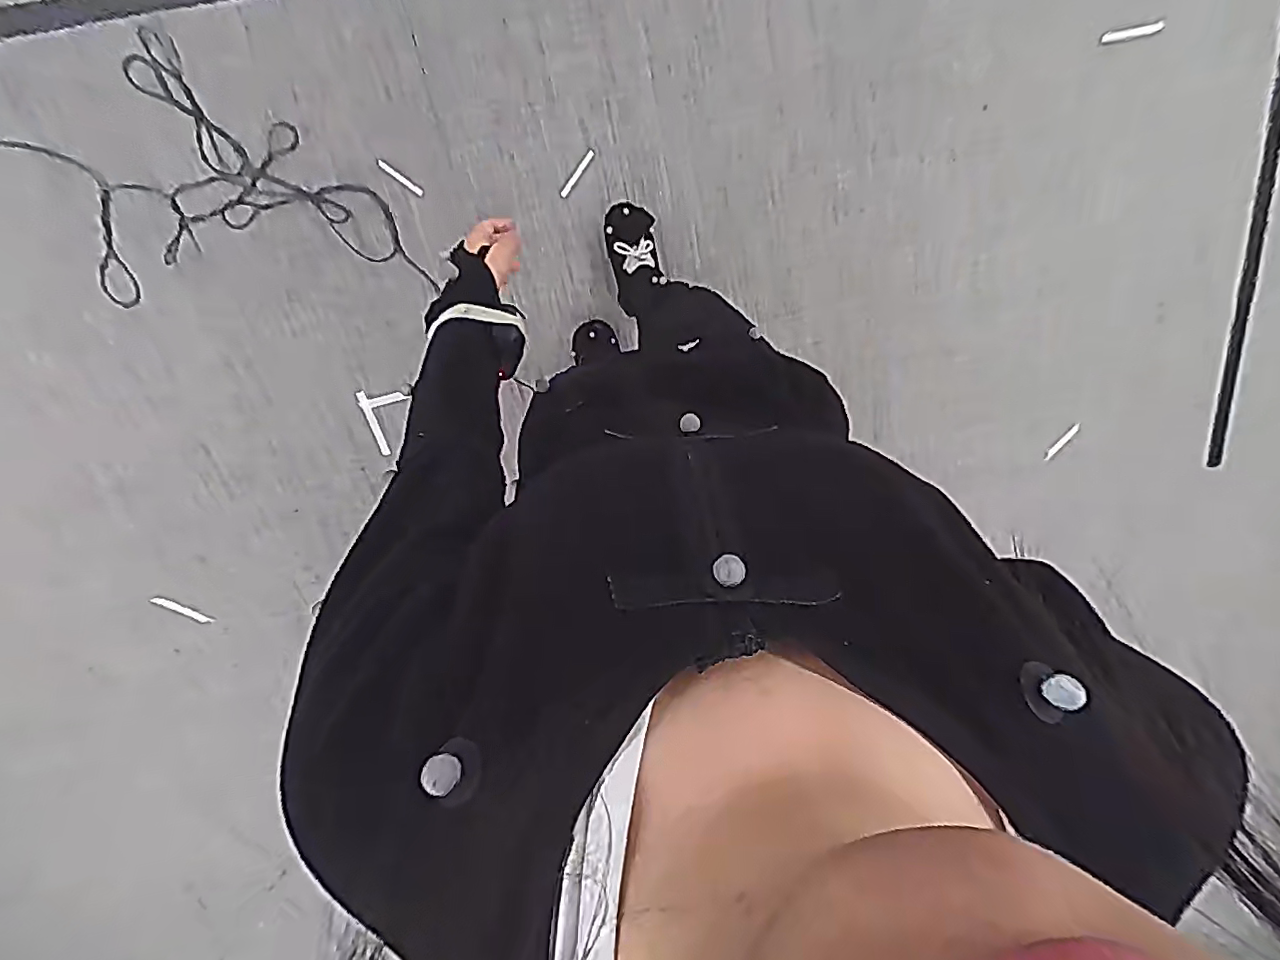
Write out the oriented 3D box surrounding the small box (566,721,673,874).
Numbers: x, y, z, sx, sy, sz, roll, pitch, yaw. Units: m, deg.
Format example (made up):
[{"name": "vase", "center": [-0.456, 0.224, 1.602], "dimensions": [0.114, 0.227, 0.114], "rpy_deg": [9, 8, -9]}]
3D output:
[{"name": "small box", "center": [-0.043, 0.577, 1.009], "dimensions": [0.168, 0.176, 0.179], "rpy_deg": [-11, 111, -3]}]
